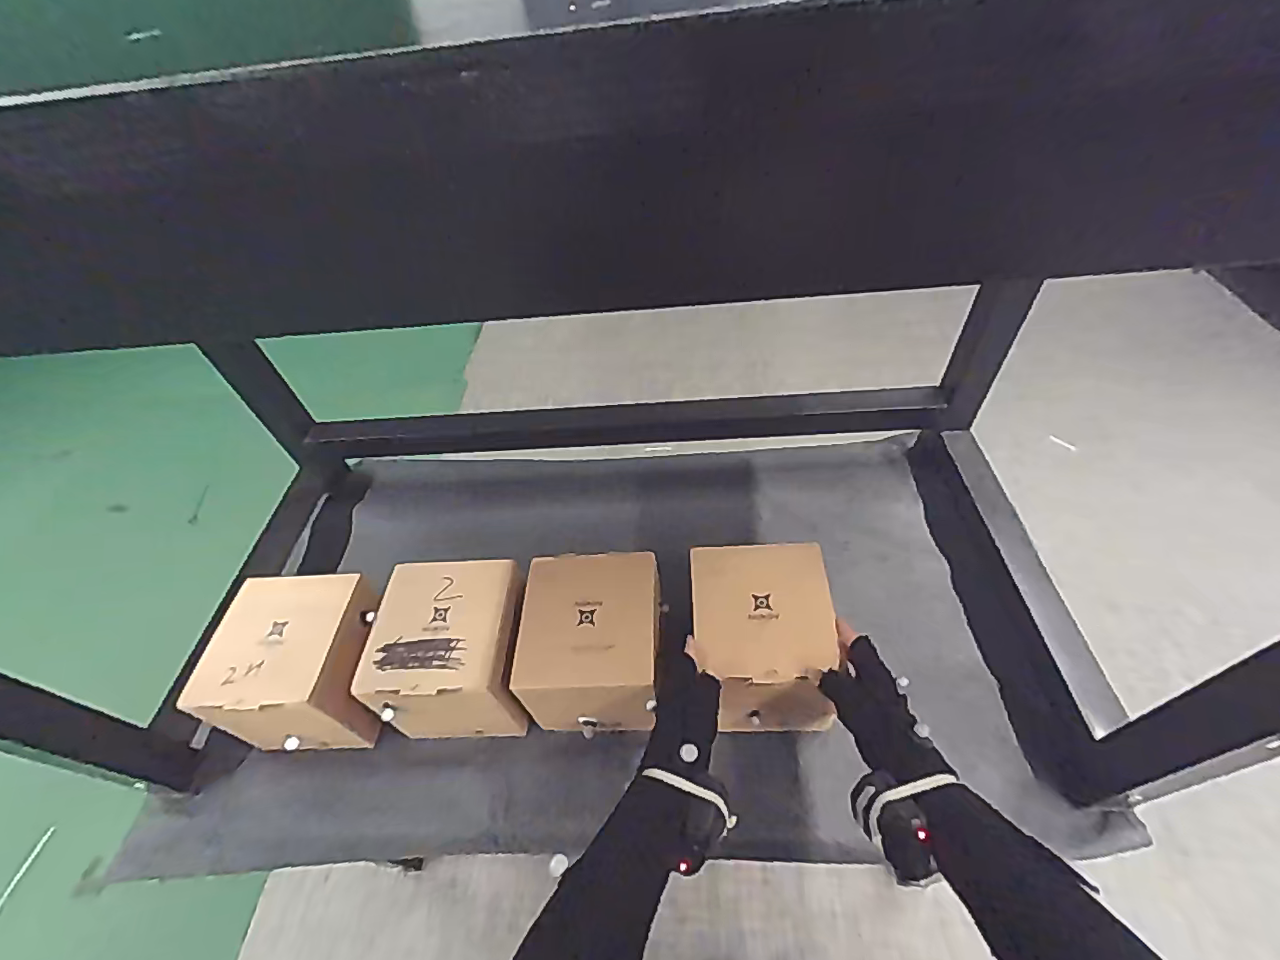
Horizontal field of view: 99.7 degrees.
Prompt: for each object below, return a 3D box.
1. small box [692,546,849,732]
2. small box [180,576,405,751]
[{"bbox_3d":[0.153,0.206,0.696,0.168,0.176,0.179,-4,48,5],"label":"small box"},{"bbox_3d":[-0.445,0.250,0.733,0.168,0.176,0.179,-3,48,5],"label":"small box"}]
